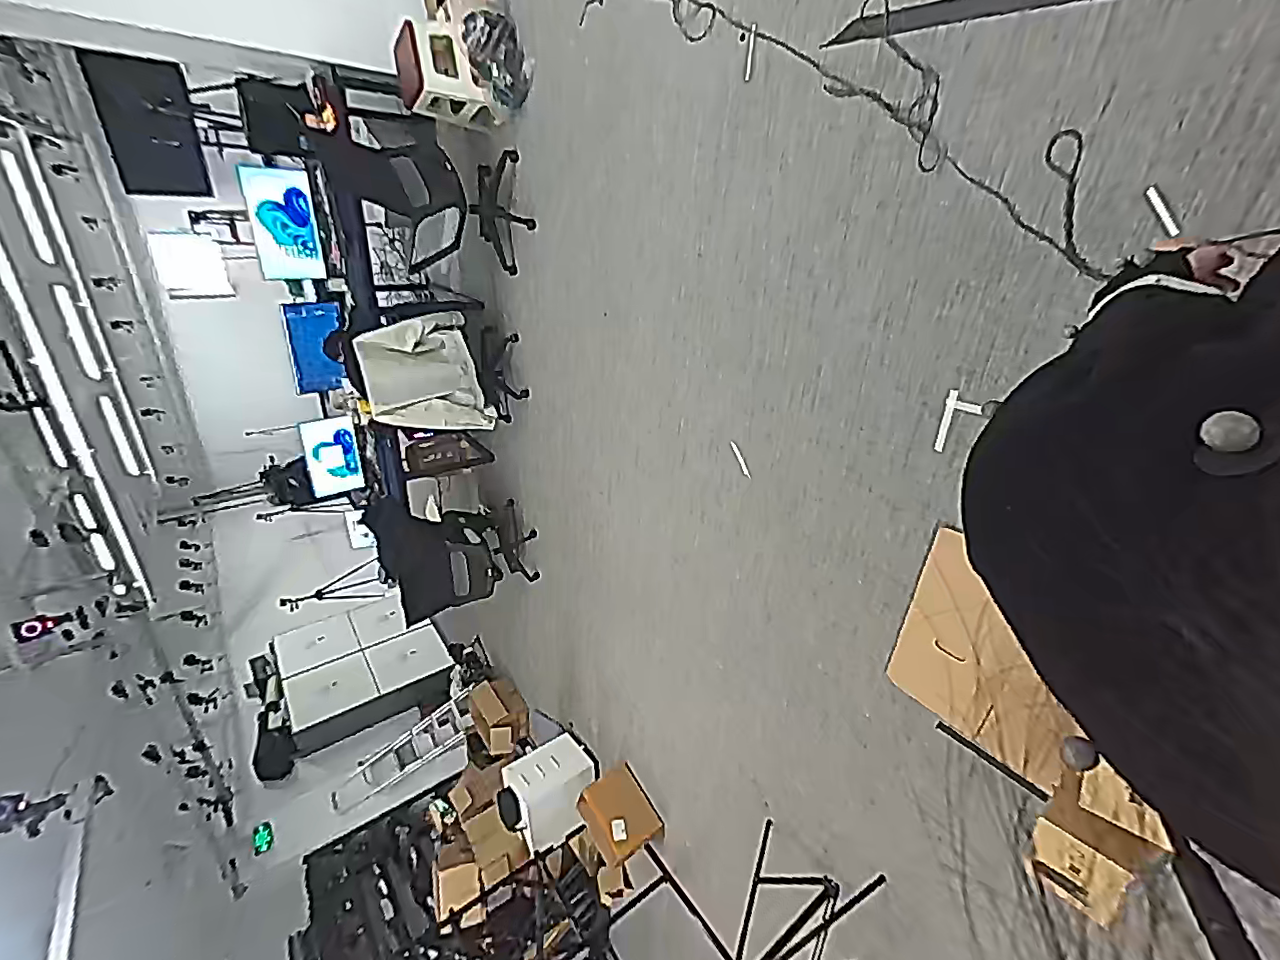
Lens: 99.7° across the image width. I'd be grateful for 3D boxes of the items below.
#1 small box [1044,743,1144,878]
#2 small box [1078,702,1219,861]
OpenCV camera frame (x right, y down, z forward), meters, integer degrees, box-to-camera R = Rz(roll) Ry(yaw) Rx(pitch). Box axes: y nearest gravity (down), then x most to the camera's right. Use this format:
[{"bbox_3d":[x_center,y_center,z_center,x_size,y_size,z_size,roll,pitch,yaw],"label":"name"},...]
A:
[{"bbox_3d":[1.110,0.780,1.294,0.168,0.176,0.179,21,120,48],"label":"small box"},{"bbox_3d":[1.002,0.582,1.066,0.168,0.176,0.179,15,115,49],"label":"small box"}]
